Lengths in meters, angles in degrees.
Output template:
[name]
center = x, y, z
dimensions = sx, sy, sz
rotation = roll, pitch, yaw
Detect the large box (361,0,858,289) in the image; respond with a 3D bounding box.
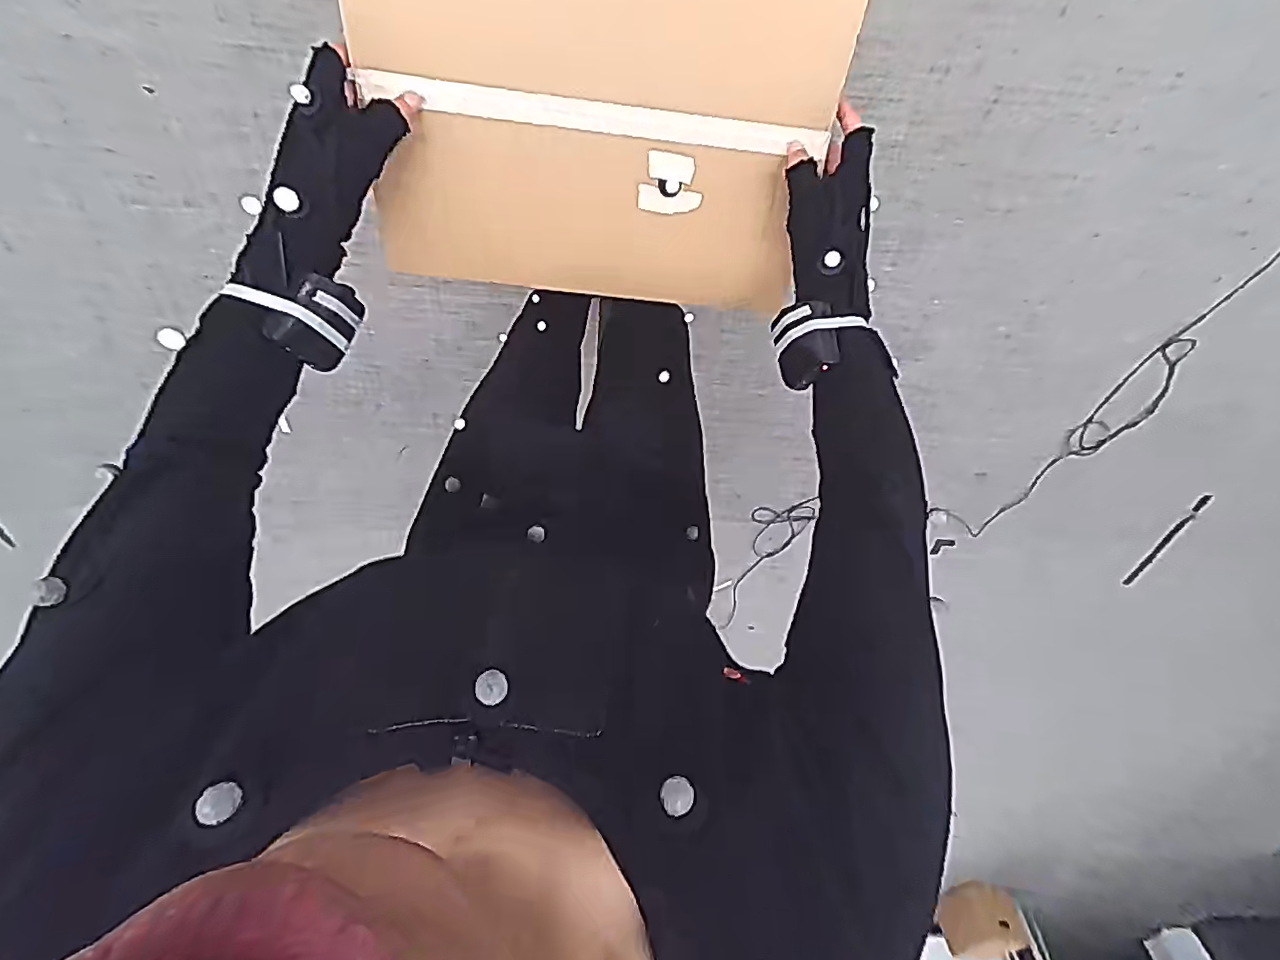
[large box]
center = -0.036, -0.427, 0.588
dimensions = 0.408, 0.320, 0.320
rotation = 3, 130, -6
